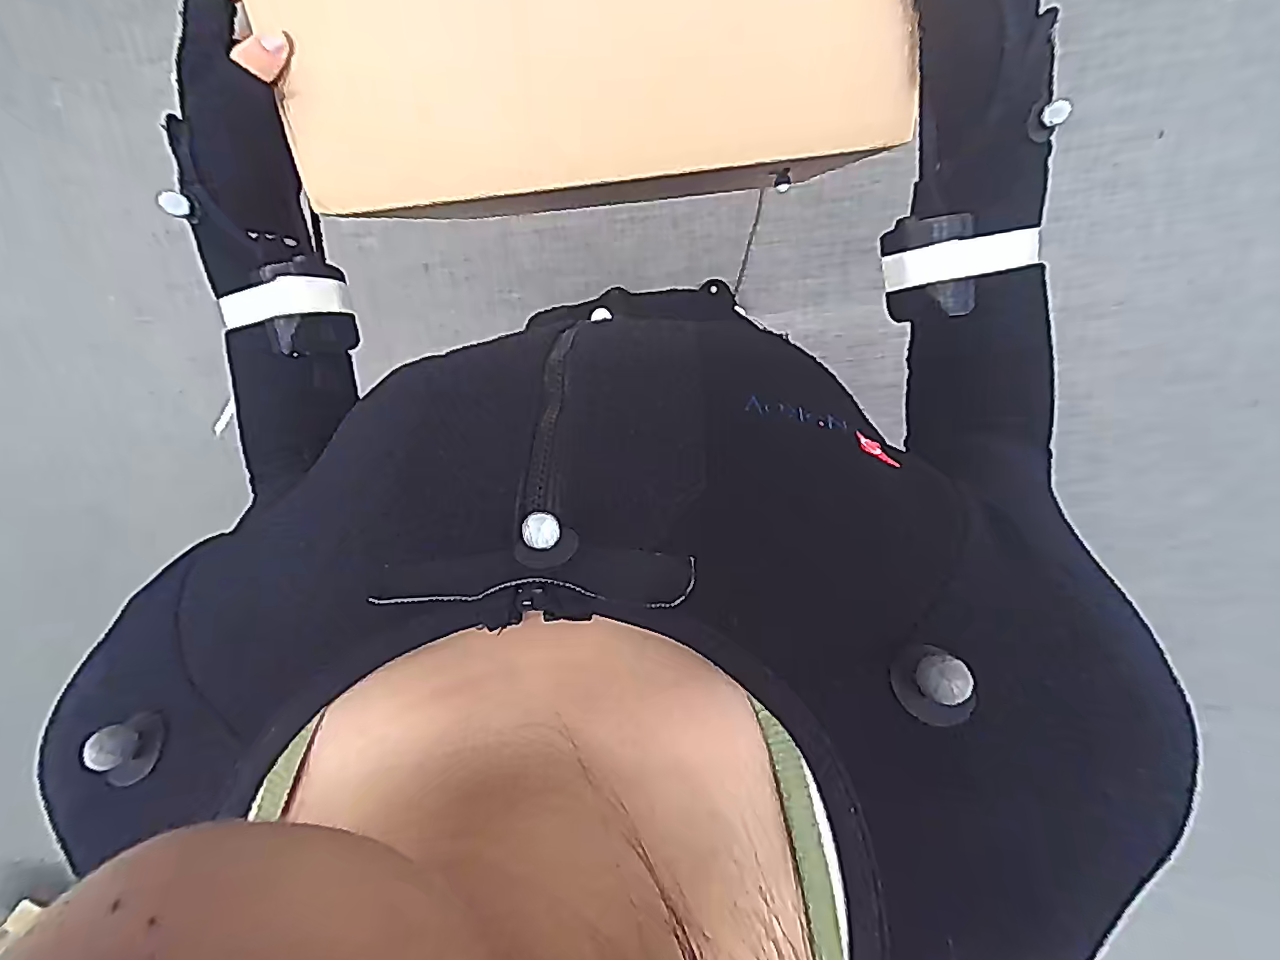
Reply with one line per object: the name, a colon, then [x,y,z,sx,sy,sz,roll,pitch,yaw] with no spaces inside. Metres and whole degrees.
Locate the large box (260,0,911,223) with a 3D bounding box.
large box: [-0.035,-0.405,0.443,0.408,0.320,0.320,-4,114,5]
